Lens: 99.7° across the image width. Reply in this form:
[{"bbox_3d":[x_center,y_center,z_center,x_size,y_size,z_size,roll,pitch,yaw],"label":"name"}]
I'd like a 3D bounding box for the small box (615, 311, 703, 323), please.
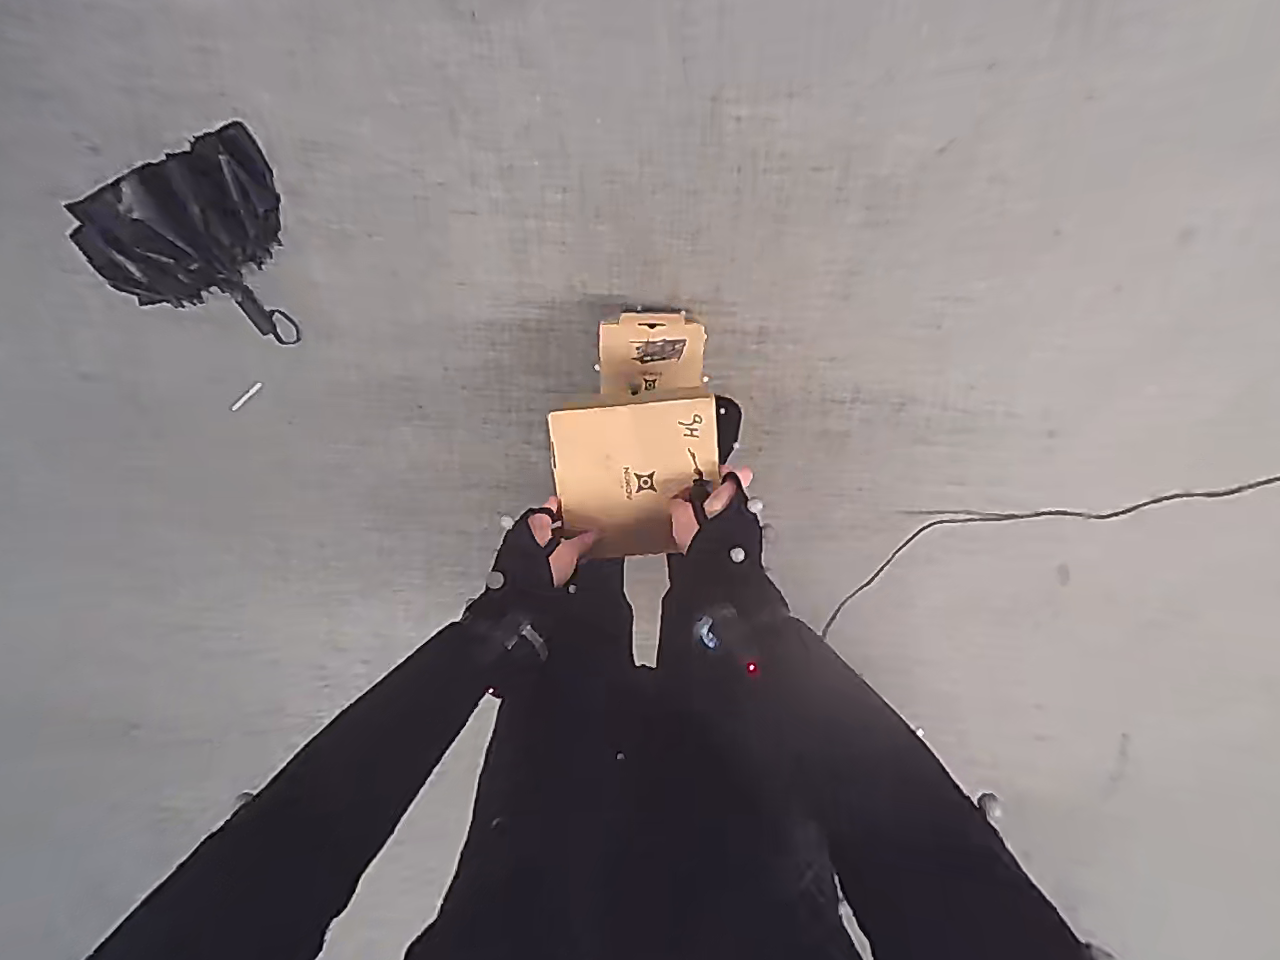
[{"bbox_3d":[0.037,-0.247,1.090,0.168,0.176,0.179,0,111,4],"label":"small box"}]

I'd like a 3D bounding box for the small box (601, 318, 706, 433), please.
[{"bbox_3d":[0.022,-0.187,0.937,0.168,0.176,0.179,1,110,3],"label":"small box"}]
